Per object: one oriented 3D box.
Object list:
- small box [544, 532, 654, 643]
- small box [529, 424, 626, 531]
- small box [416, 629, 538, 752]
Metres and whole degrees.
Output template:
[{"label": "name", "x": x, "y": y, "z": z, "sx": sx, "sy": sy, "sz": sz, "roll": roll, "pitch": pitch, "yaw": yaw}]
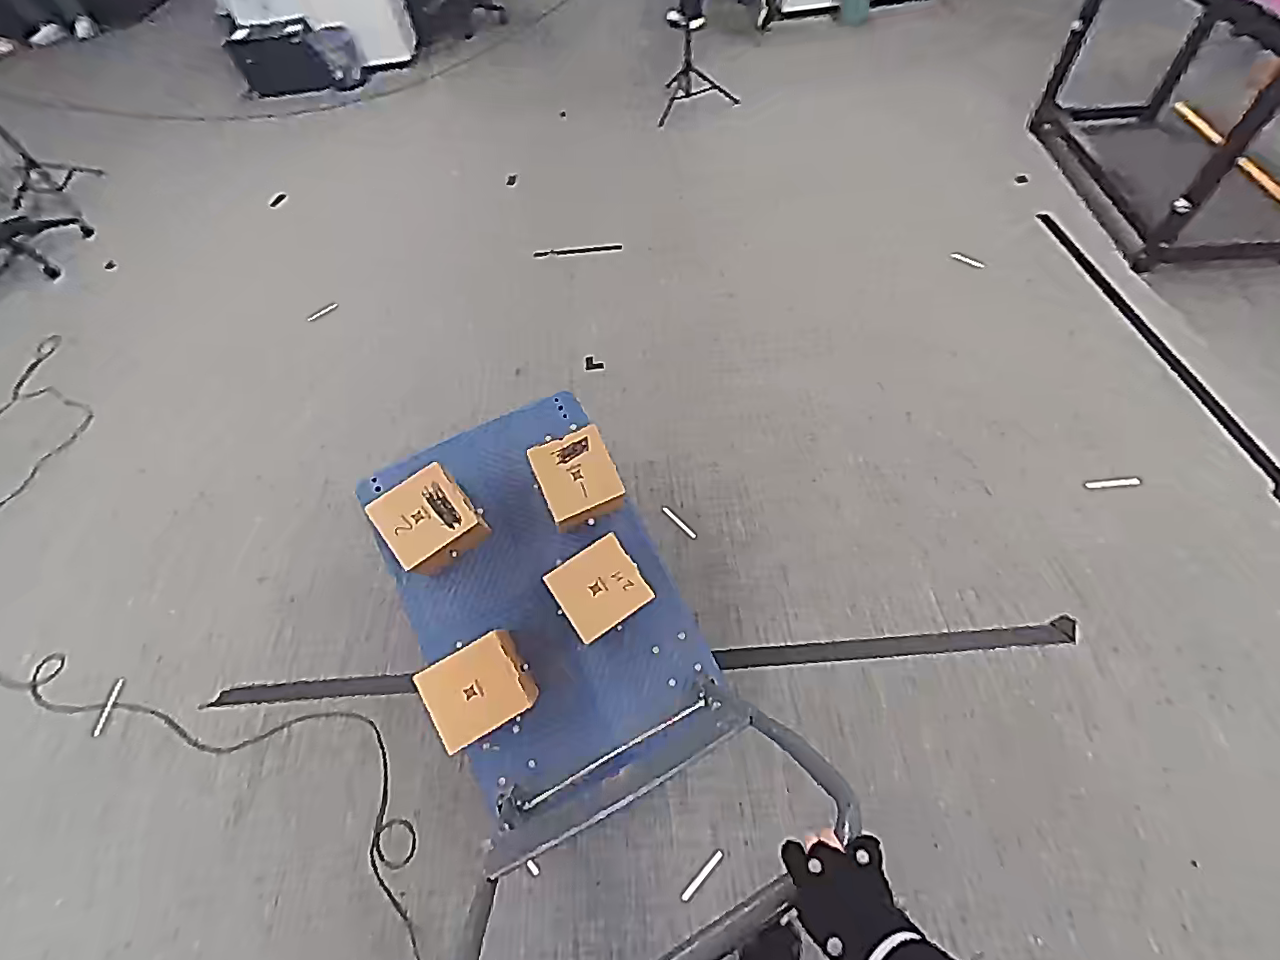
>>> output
[{"label": "small box", "x": -0.089, "y": 0.240, "z": 1.194, "sx": 0.179, "sy": 0.176, "sz": 0.168, "roll": -33, "pitch": 81, "yaw": -12}, {"label": "small box", "x": -0.144, "y": 0.001, "z": 1.250, "sx": 0.168, "sy": 0.176, "sz": 0.179, "roll": -24, "pitch": 80, "yaw": -10}, {"label": "small box", "x": -0.329, "y": 0.429, "z": 1.126, "sx": 0.179, "sy": 0.176, "sz": 0.168, "roll": -29, "pitch": 80, "yaw": -13}]
